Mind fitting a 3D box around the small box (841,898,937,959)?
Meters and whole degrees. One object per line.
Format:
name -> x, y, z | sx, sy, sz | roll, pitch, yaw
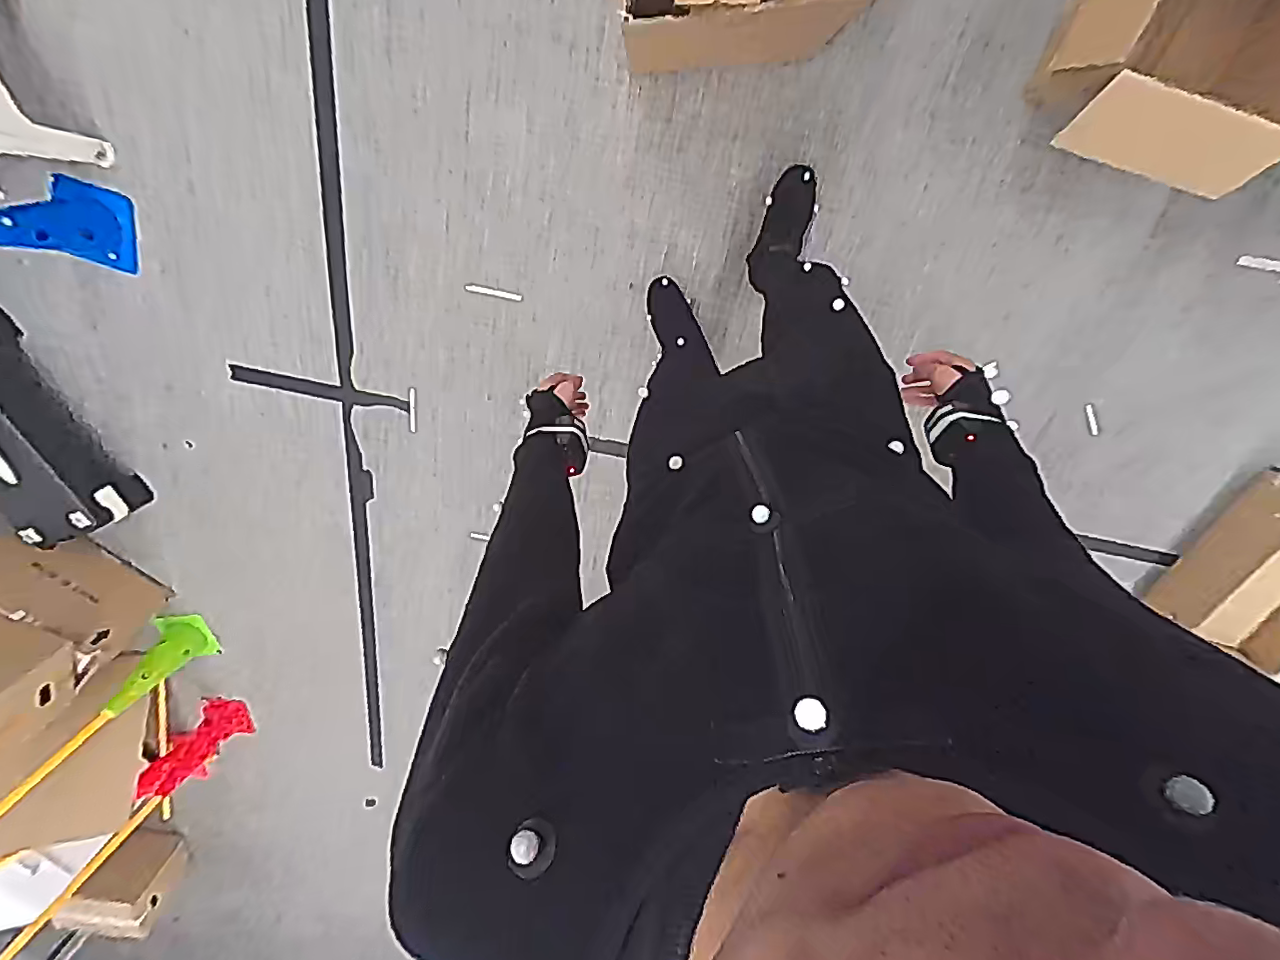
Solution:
small box -> 0.635, 1.210, 1.386 | 0.168, 0.176, 0.179 | 6, 118, -1
